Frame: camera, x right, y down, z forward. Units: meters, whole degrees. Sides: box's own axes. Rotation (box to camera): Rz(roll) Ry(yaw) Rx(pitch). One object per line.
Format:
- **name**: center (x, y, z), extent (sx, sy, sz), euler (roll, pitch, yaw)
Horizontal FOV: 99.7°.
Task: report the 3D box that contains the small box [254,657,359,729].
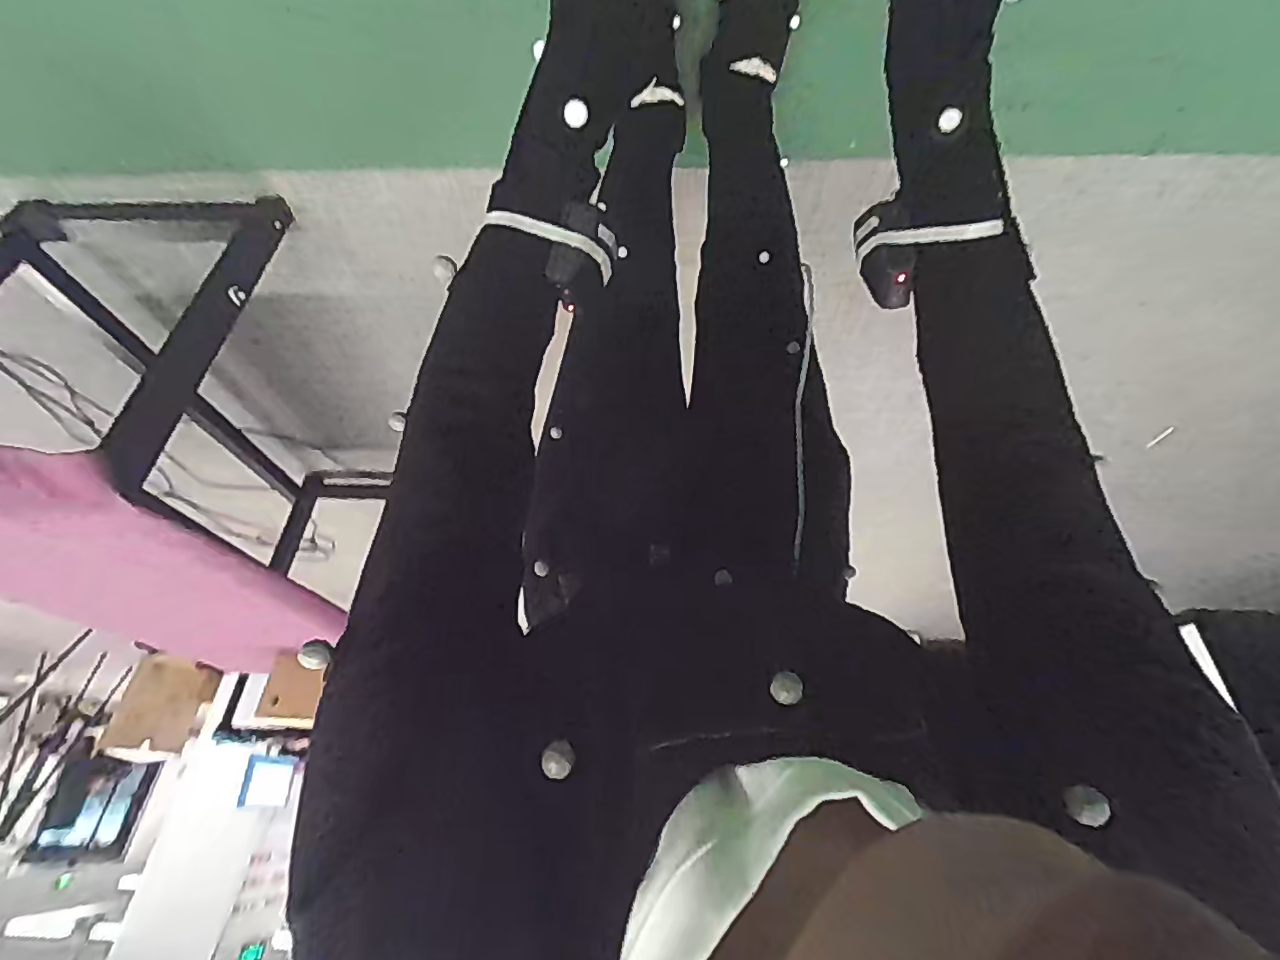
- **small box**: center (-0.953, 0.615, 1.564), extent (0.179, 0.176, 0.168), euler (2, 149, 2)
